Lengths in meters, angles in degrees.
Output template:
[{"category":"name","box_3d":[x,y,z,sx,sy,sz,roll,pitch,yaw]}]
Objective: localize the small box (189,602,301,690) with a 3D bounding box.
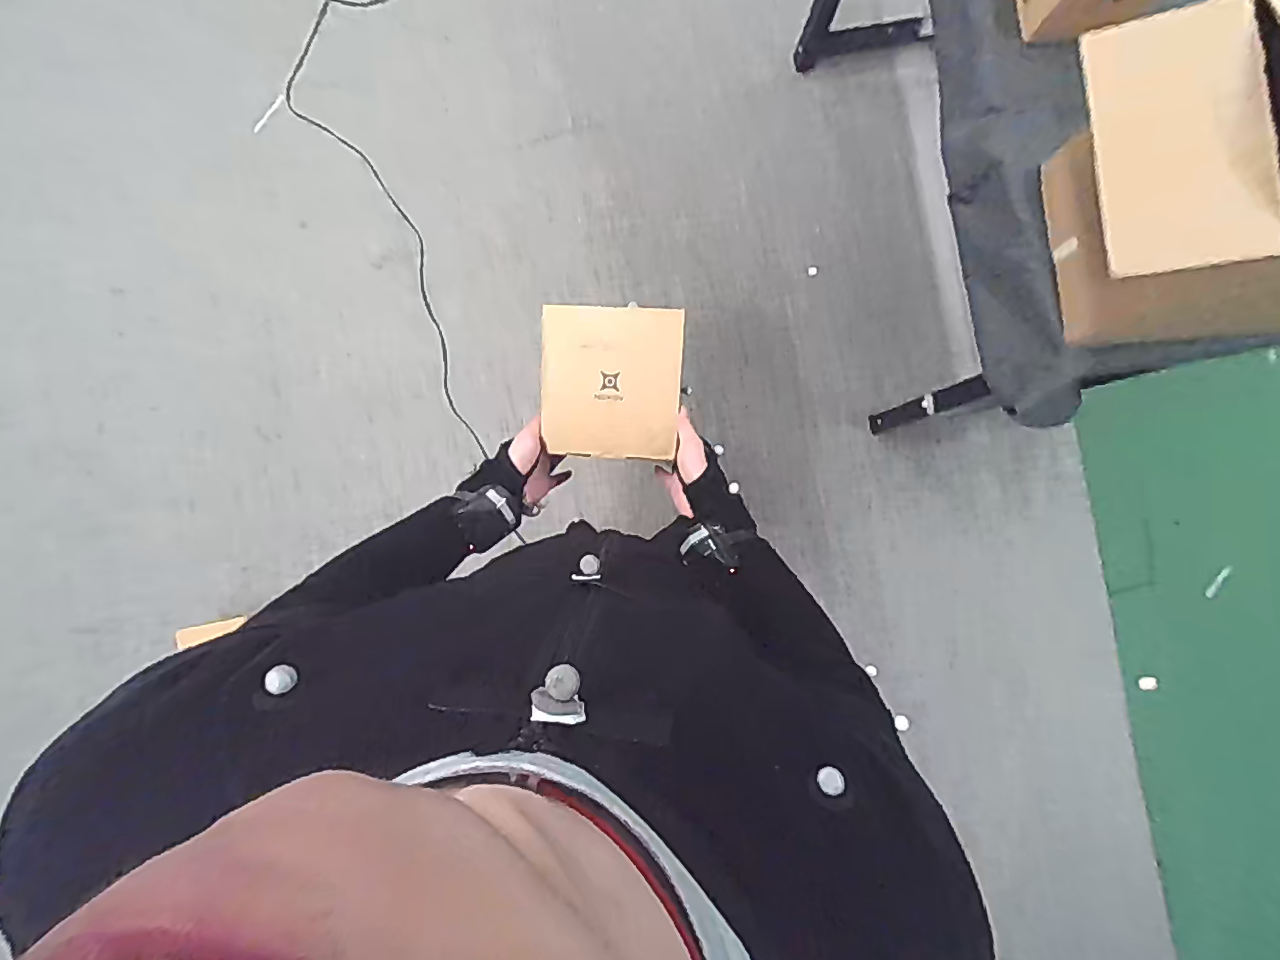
[{"category":"small box","box_3d":[-1.044,0.437,1.449,0.179,0.176,0.168,-11,89,-3]}]

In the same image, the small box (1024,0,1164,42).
[{"category":"small box","box_3d":[0.711,-0.800,0.802,0.179,0.176,0.168,-7,88,-1]}]
